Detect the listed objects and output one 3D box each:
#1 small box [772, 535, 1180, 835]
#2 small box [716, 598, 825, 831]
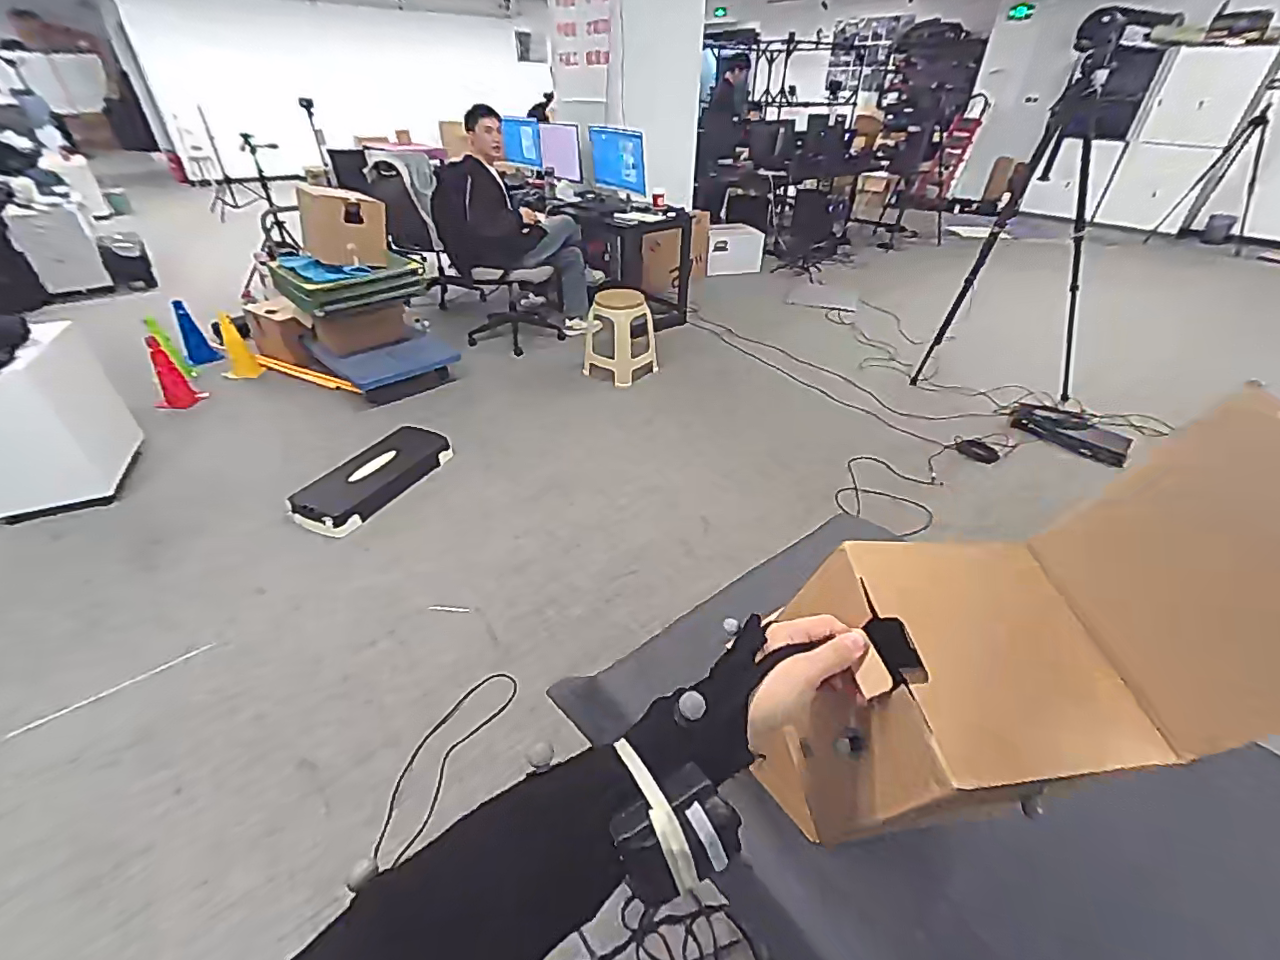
[{"bbox_3d":[0.219,0.158,0.416,0.179,0.176,0.168,3,49,-15],"label":"small box"},{"bbox_3d":[0.210,0.268,0.649,0.168,0.176,0.179,-22,43,-29],"label":"small box"}]
